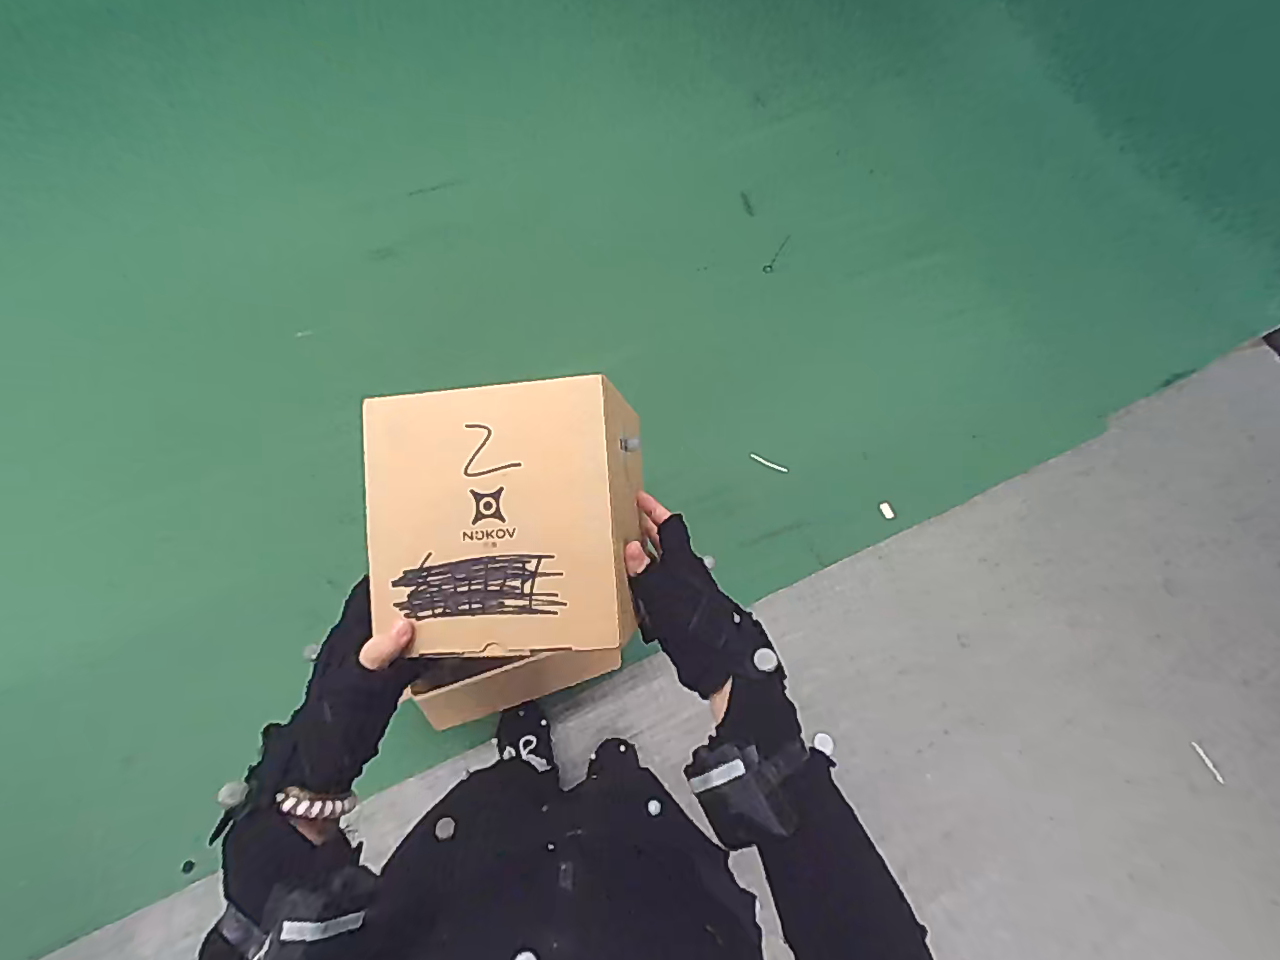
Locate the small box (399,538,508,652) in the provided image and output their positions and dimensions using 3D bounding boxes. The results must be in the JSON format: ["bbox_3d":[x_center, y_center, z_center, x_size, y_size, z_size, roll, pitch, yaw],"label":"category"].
[{"bbox_3d":[-0.375,0.240,1.106,0.168,0.176,0.179,-13,71,-10],"label":"small box"}]
